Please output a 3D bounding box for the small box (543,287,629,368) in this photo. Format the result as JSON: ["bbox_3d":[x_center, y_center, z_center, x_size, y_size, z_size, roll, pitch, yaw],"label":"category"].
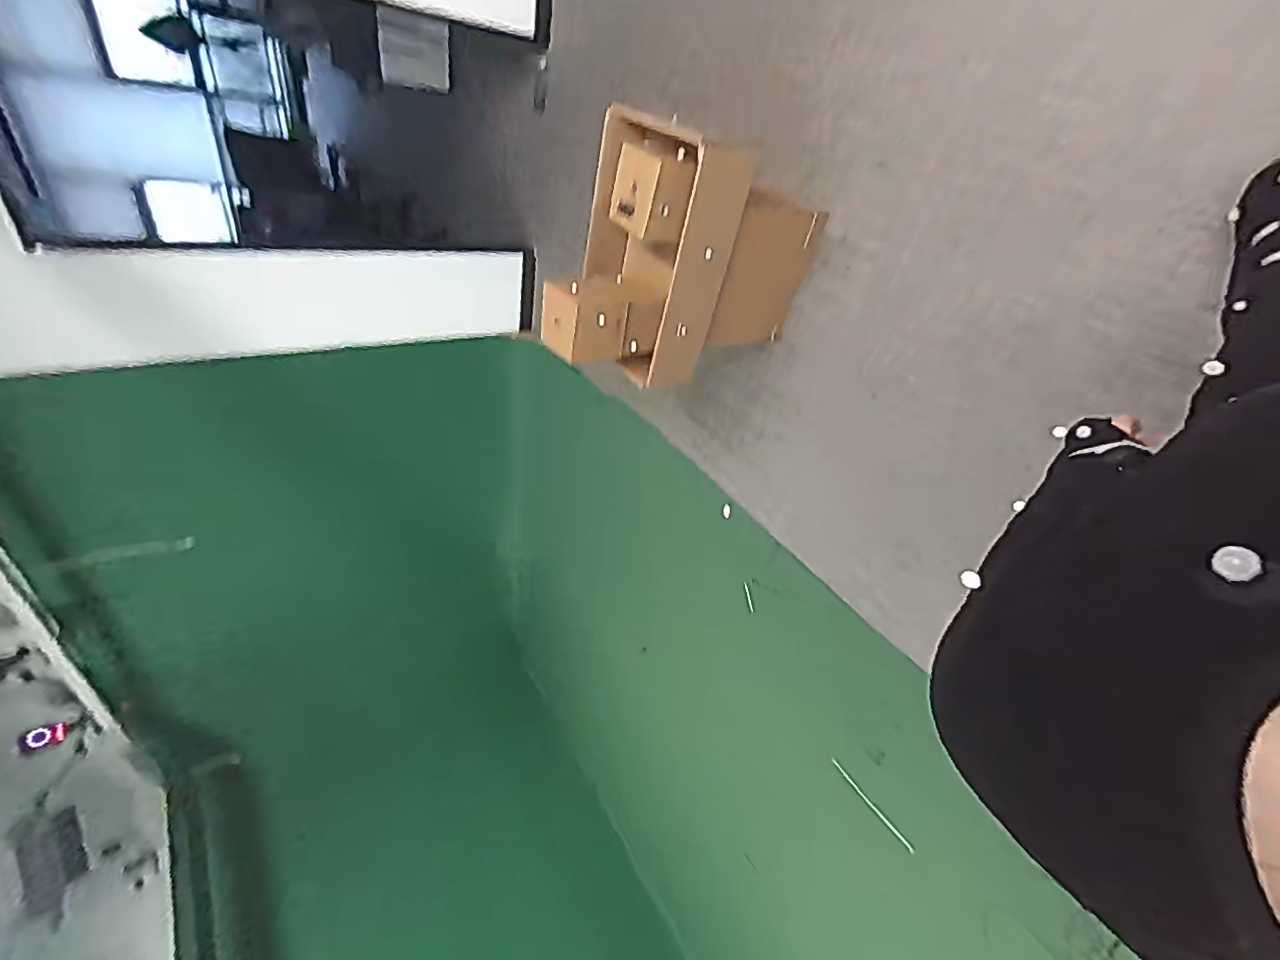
[{"bbox_3d":[-0.149,-0.428,1.490,0.179,0.176,0.168,43,135,38],"label":"small box"}]
